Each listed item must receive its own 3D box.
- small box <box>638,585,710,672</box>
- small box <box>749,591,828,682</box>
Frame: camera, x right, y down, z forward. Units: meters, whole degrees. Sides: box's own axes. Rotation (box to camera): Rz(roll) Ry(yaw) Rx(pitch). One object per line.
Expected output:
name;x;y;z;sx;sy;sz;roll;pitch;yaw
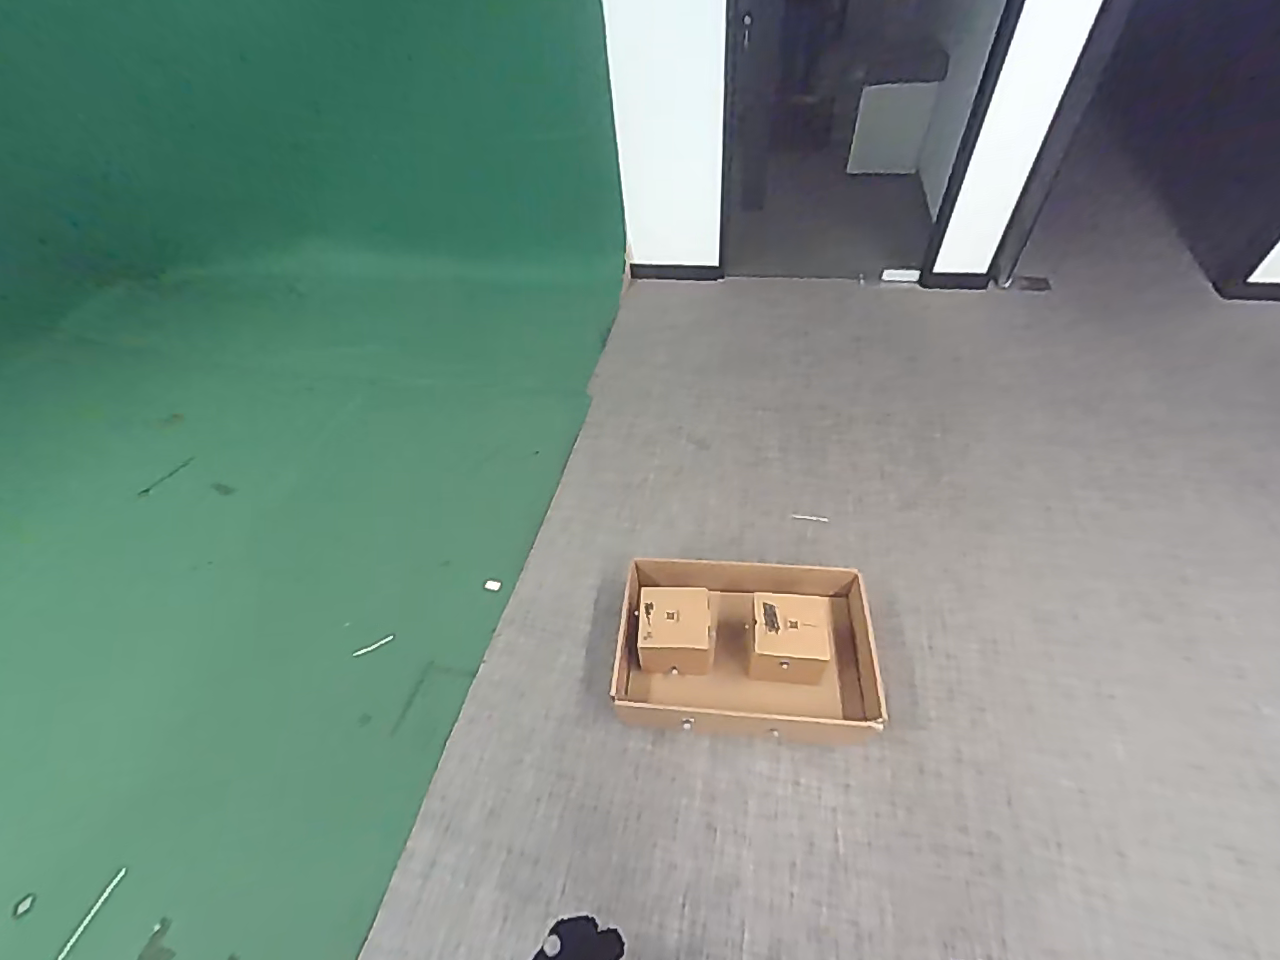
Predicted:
small box;0.090;0.391;1.411;0.179;0.176;0.168;1;49;5
small box;0.369;0.399;1.373;0.179;0.176;0.168;2;50;9
